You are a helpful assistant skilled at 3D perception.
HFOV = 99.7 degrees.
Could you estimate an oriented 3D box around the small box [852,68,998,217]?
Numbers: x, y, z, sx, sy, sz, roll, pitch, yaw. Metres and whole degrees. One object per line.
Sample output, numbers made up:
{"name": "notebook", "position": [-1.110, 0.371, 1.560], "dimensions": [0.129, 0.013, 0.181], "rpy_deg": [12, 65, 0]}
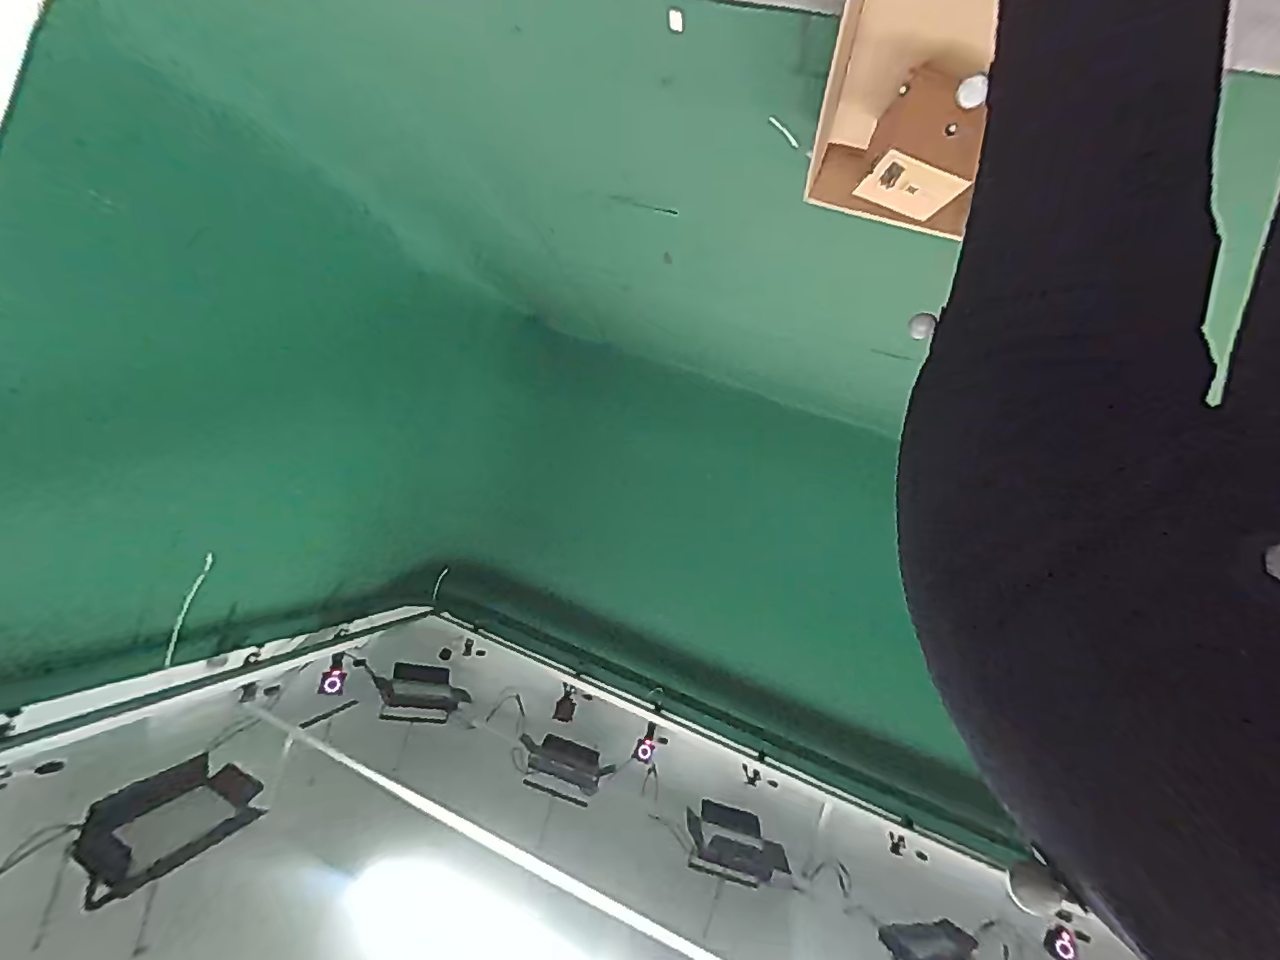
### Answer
{"name": "small box", "position": [0.569, -0.678, 1.092], "dimensions": [0.179, 0.176, 0.168], "rpy_deg": [20, 179, -4]}
